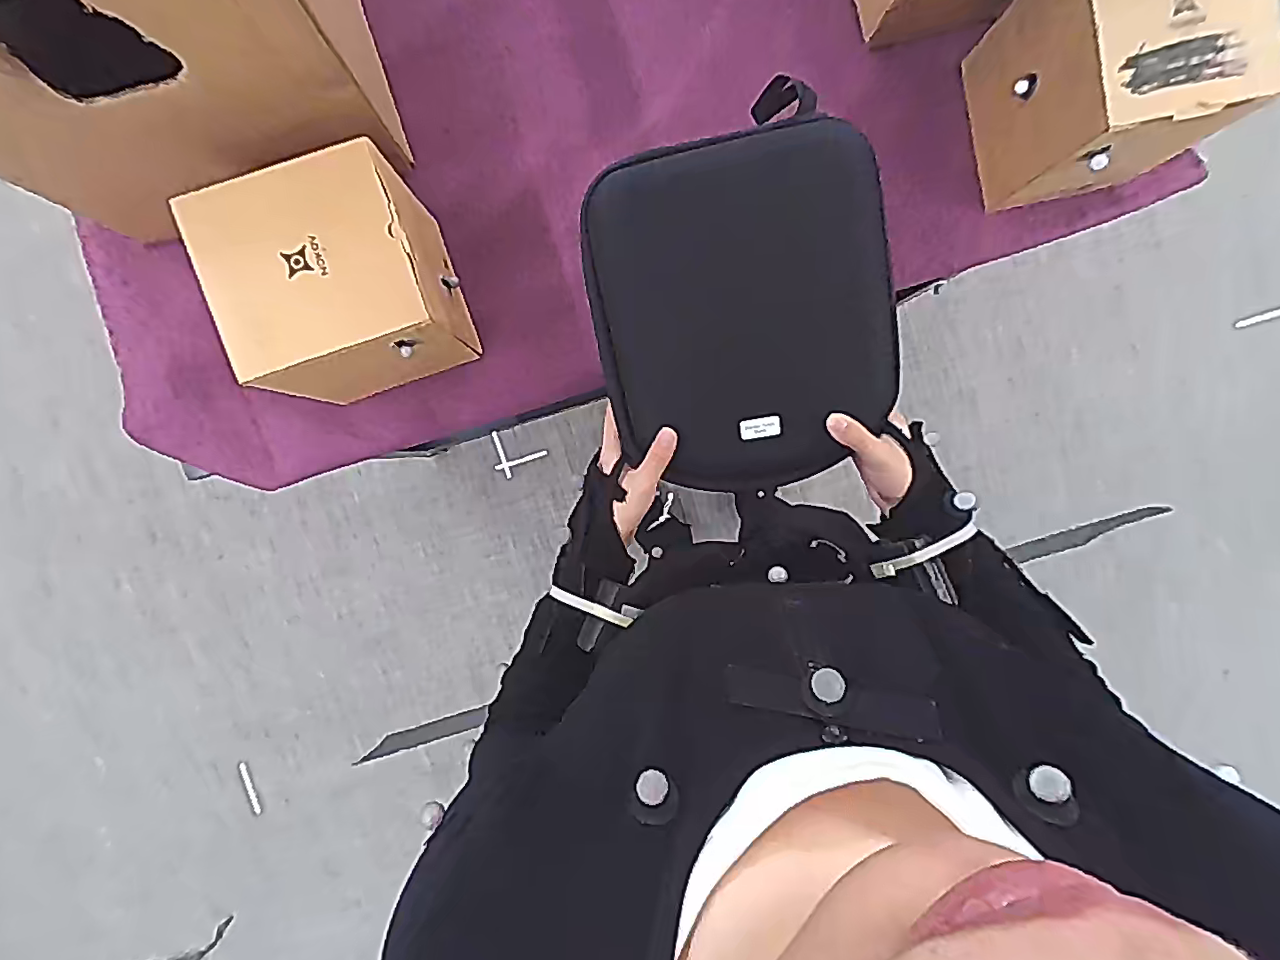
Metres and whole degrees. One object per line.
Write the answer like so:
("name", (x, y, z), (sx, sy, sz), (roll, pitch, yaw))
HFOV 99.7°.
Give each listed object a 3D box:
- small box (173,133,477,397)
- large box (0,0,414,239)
("small box", (-0.289, -0.192, 0.539), (0.179, 0.176, 0.168), (-20, 92, -2))
("large box", (-0.447, -0.489, 0.446), (0.320, 0.320, 0.408), (-19, 96, -2))
